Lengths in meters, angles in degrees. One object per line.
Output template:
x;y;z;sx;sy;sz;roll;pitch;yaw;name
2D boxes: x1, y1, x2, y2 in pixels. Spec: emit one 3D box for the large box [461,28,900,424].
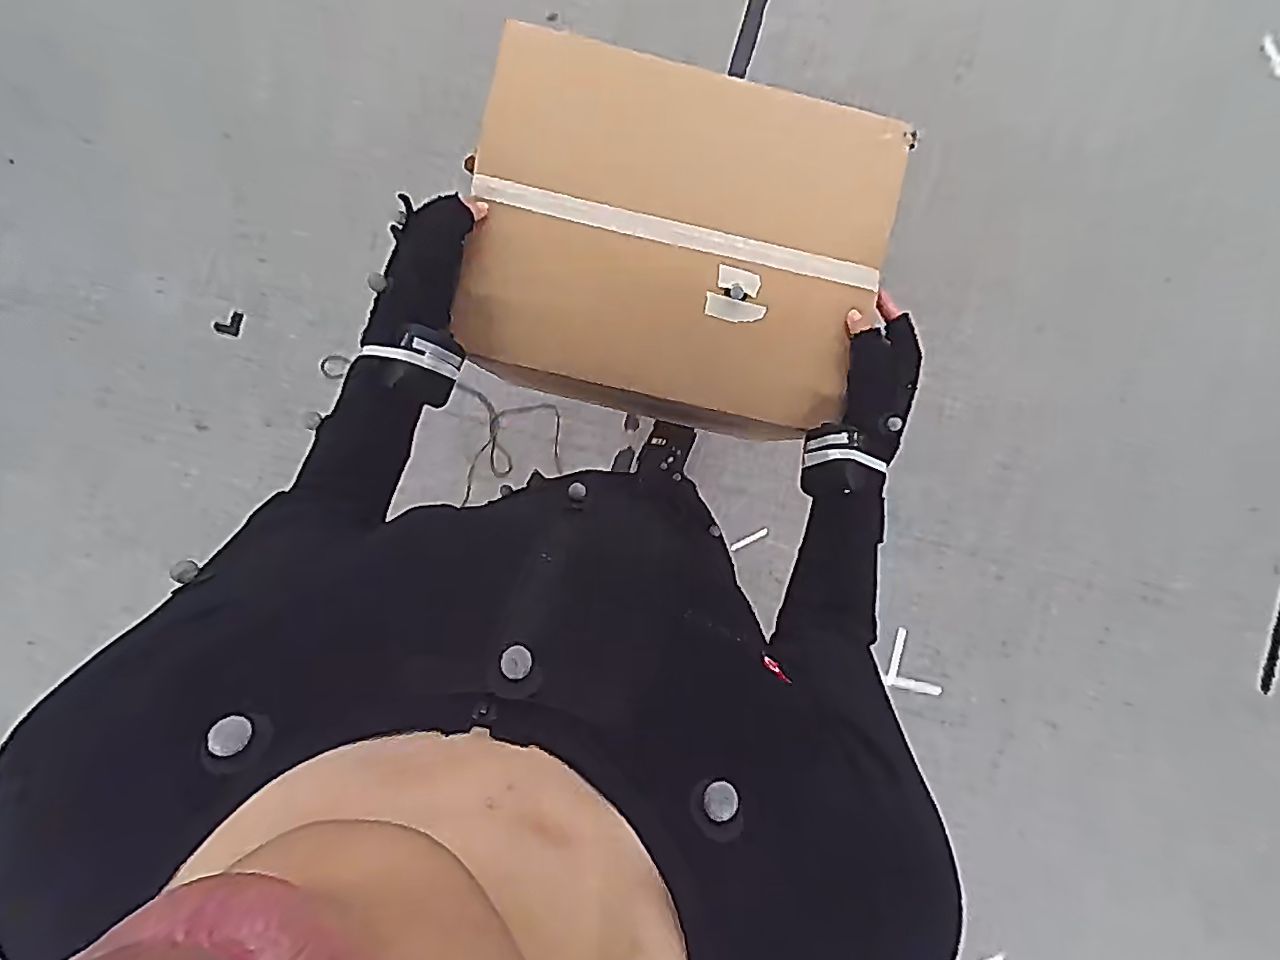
0.033;-0.265;0.691;0.408;0.320;0.320;12;94;-4;large box
